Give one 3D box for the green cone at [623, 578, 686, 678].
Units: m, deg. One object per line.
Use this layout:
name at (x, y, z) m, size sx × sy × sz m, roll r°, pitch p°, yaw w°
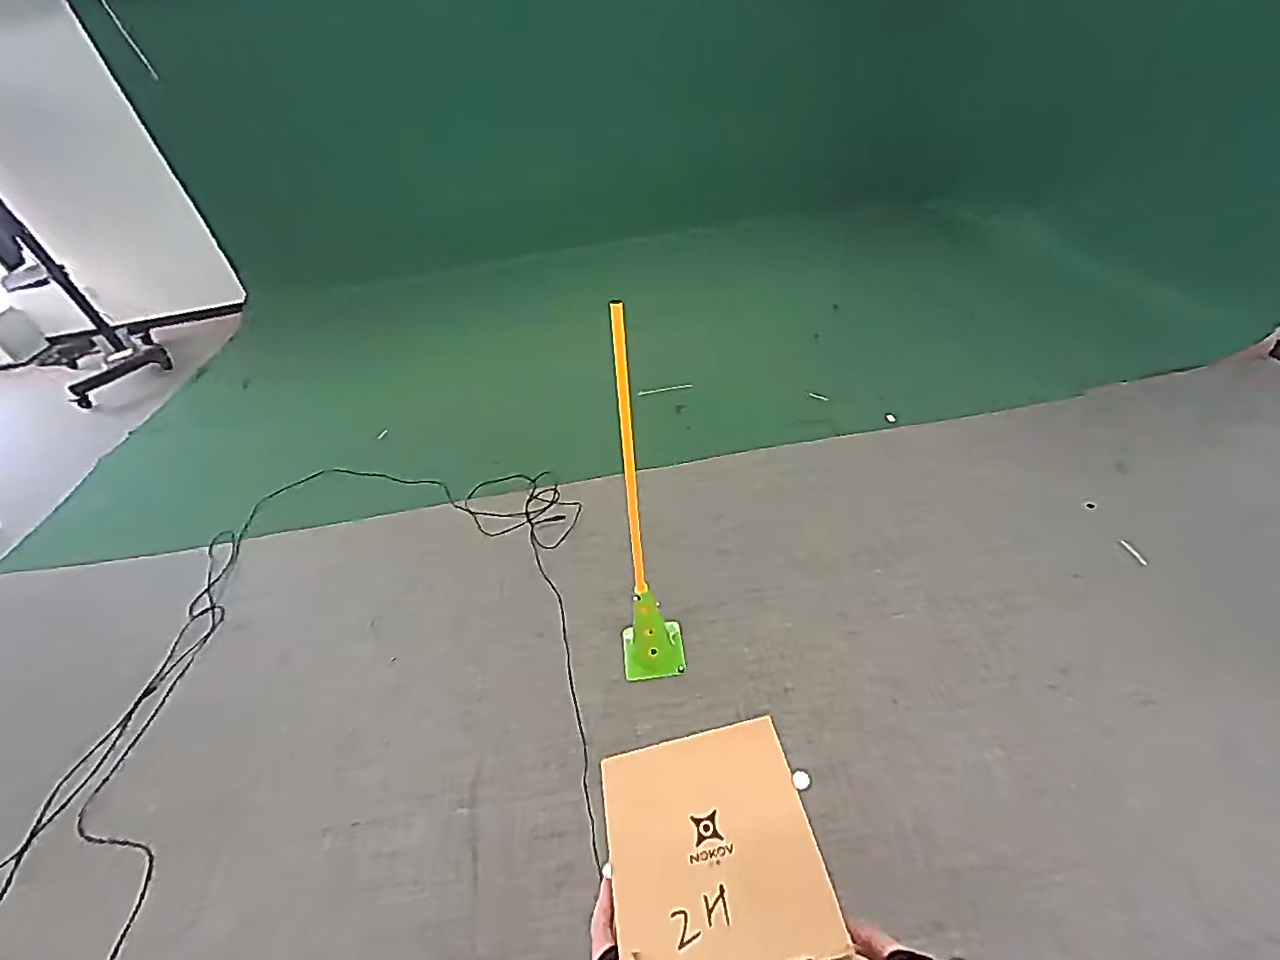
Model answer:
green cone at (0.021, 0.433, 1.702) m, size 0.202 × 0.368 × 0.200 m, roll -10°, pitch 41°, yaw 2°
